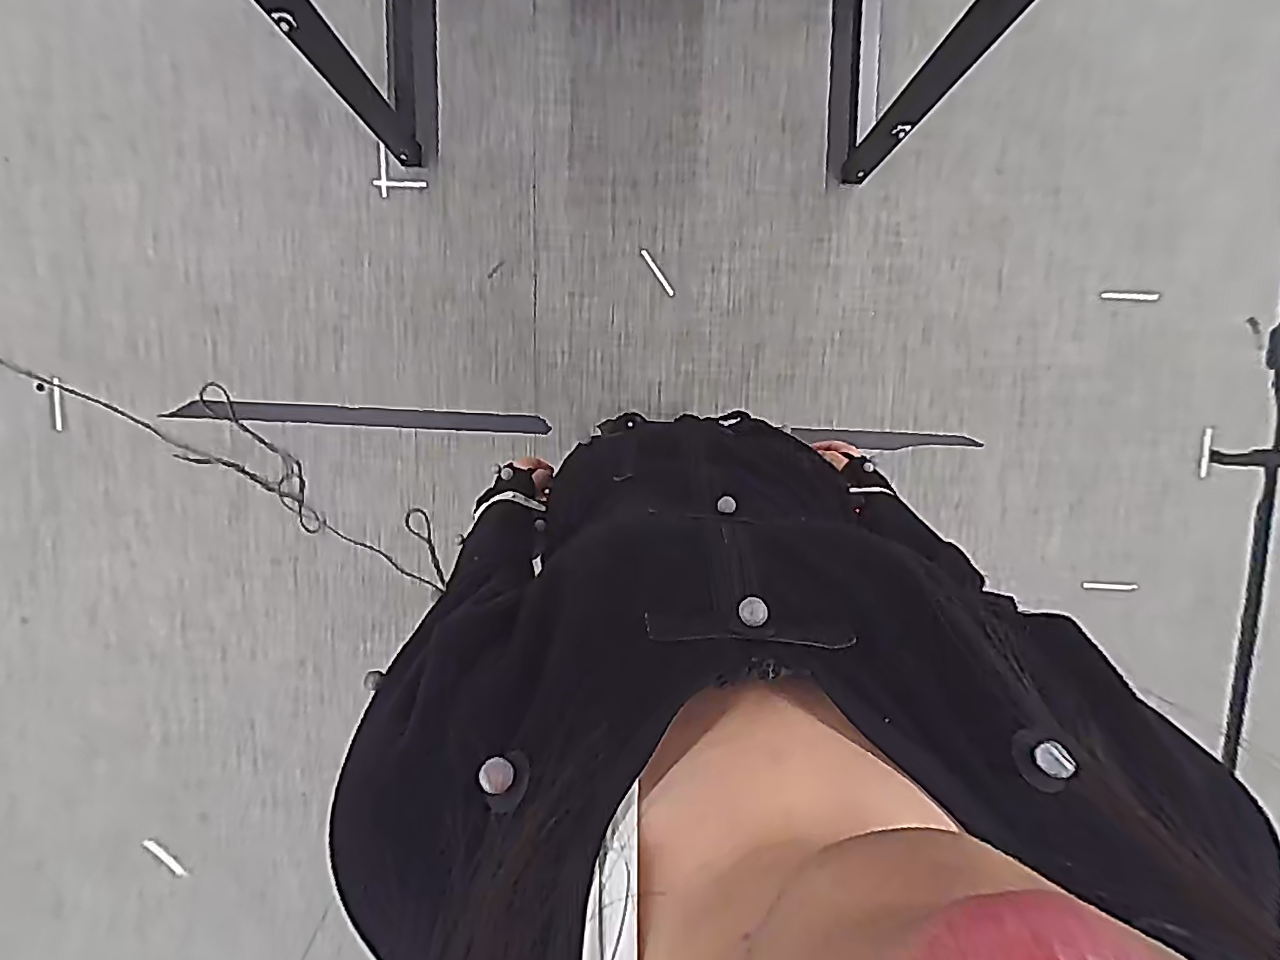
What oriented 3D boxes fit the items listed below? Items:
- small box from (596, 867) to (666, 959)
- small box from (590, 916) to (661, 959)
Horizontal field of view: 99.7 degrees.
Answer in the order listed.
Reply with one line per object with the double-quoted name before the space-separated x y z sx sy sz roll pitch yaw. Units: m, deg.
"small box" -0.027 1.232 1.520 0.168 0.176 0.179 -12 96 0
"small box" -0.029 1.256 1.357 0.168 0.176 0.179 -12 96 -2
